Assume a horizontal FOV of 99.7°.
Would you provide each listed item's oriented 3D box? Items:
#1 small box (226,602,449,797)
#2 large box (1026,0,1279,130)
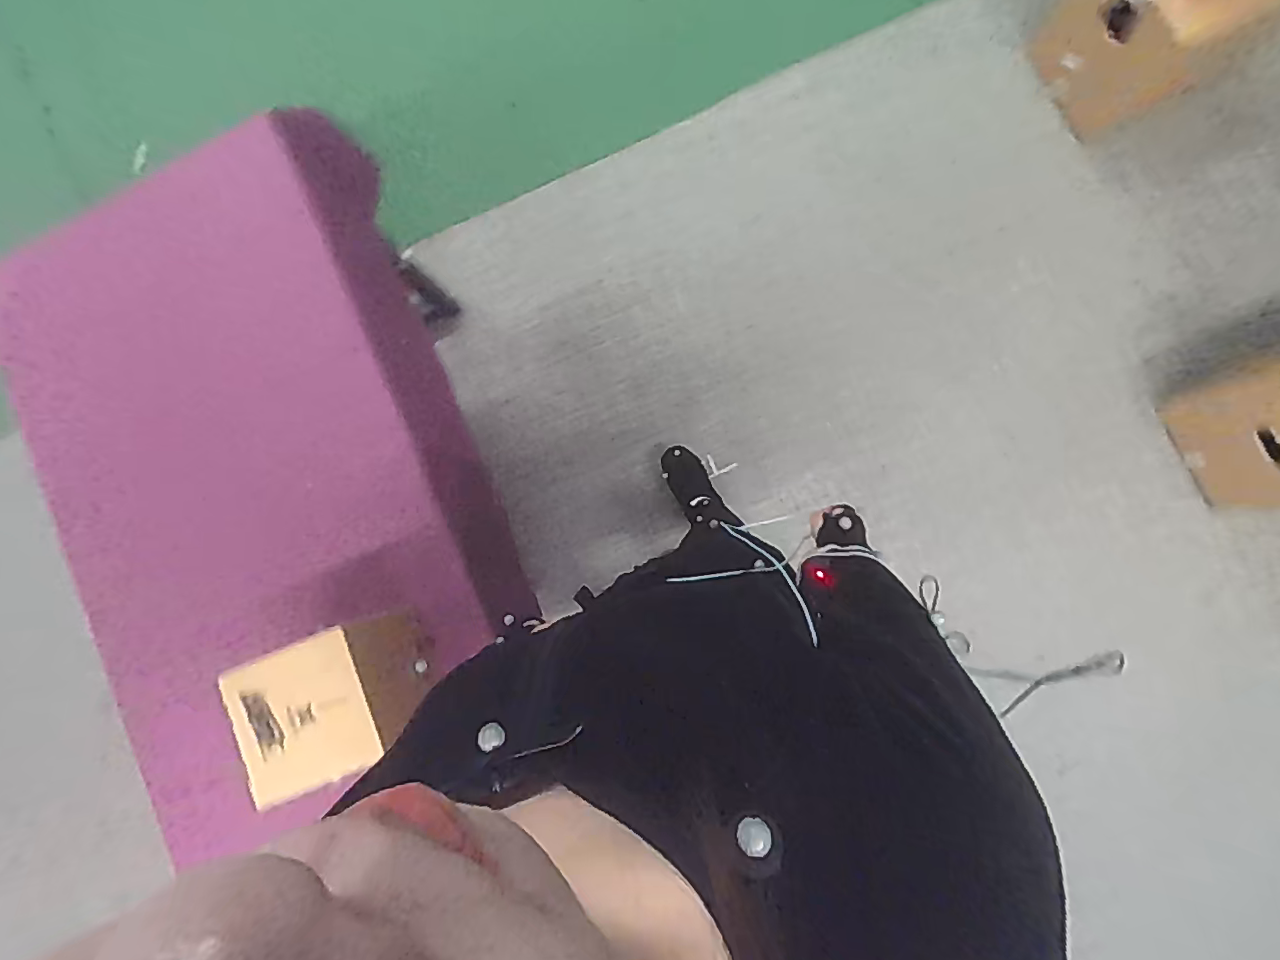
[{"bbox_3d":[-0.394,0.282,0.732,0.179,0.176,0.168,-23,85,3],"label":"small box"},{"bbox_3d":[1.281,-1.164,1.313,0.408,0.320,0.320,-24,85,2],"label":"large box"}]
